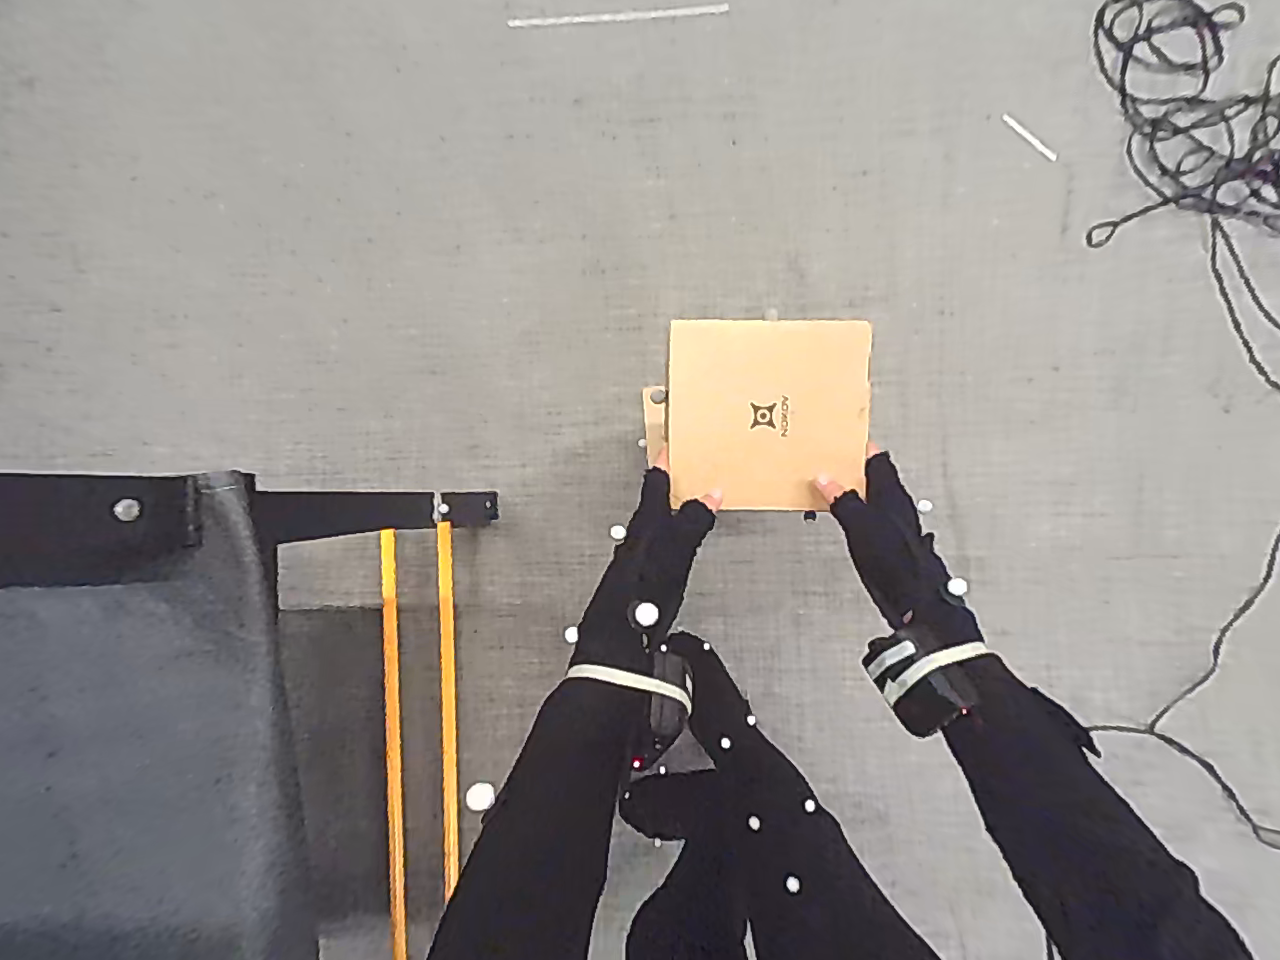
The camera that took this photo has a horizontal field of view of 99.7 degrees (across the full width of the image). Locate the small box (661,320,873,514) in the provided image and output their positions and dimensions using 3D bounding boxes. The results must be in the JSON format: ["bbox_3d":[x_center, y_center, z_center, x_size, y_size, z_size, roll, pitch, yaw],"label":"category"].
[{"bbox_3d":[0.110,-0.059,0.539,0.179,0.176,0.168,0,95,1],"label":"small box"}]

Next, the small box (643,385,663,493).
[{"bbox_3d":[0.100,-0.068,0.900,0.179,0.176,0.168,-5,89,4],"label":"small box"}]
